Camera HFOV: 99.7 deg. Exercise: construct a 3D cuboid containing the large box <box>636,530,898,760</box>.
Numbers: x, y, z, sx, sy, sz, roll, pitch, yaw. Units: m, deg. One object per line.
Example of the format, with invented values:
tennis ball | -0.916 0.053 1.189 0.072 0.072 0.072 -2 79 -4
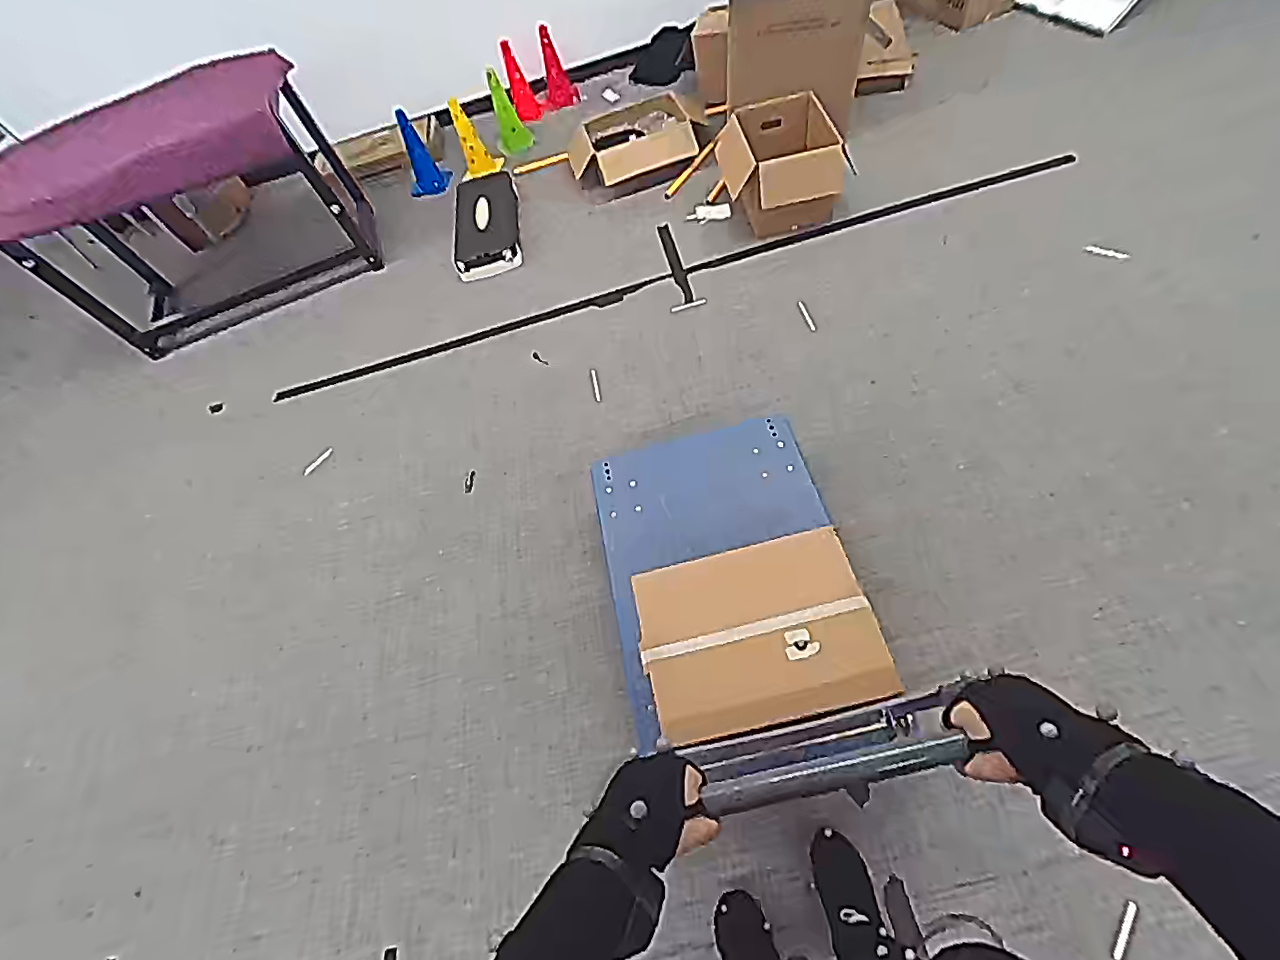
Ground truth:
large box | 0.234 0.350 1.107 0.408 0.320 0.320 -15 59 2
